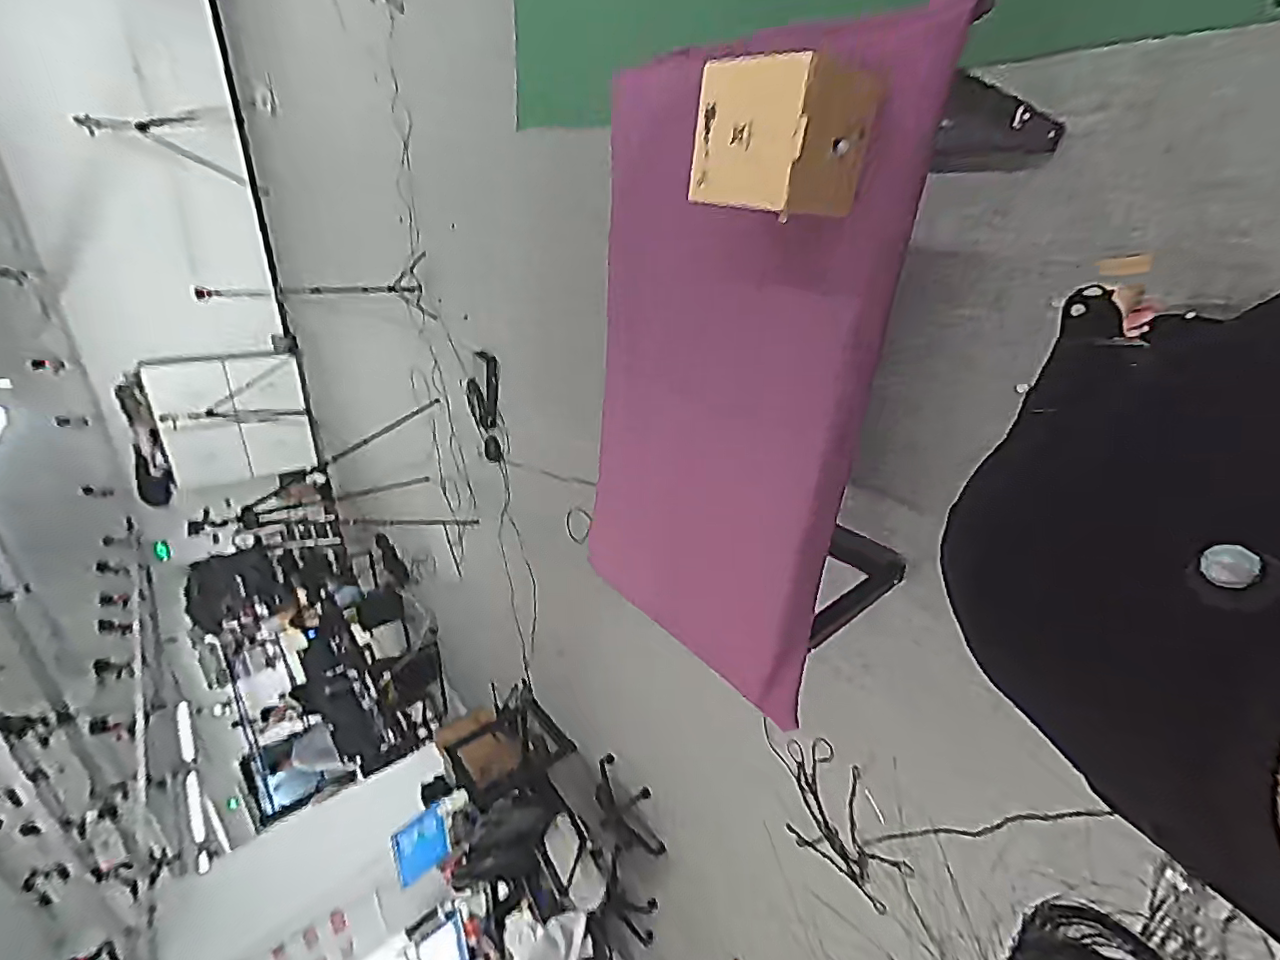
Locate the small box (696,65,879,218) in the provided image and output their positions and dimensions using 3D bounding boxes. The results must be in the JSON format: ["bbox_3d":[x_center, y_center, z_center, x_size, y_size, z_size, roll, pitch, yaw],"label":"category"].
[{"bbox_3d":[0.207,-0.473,0.770,0.179,0.176,0.168,32,128,39],"label":"small box"}]
